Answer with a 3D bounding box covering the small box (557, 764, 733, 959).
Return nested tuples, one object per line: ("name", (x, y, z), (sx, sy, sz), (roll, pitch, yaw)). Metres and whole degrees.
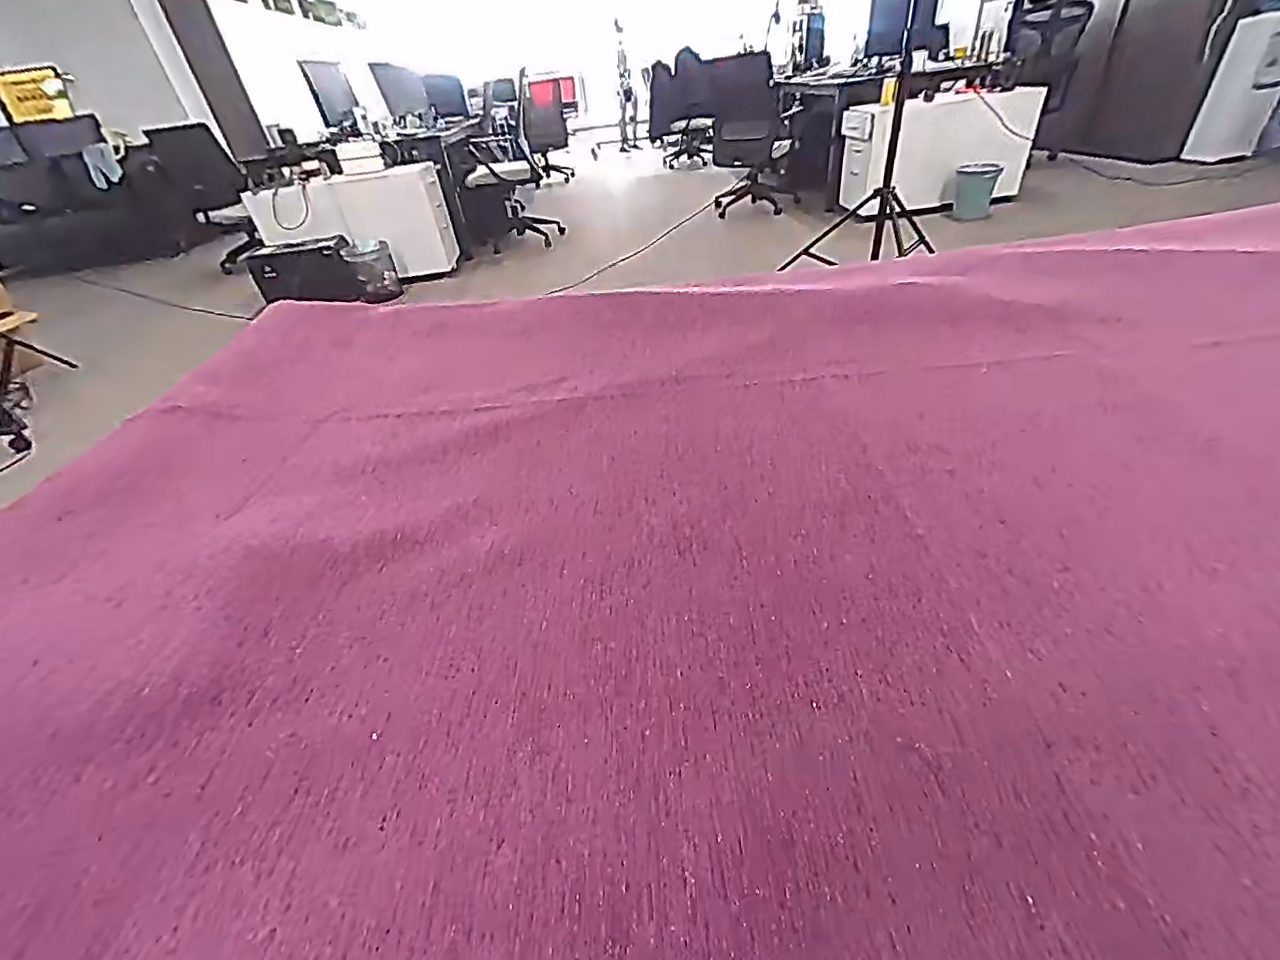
("small box", (0.001, 0.458, 0.608), (0.168, 0.176, 0.179), (-10, 38, -3))
